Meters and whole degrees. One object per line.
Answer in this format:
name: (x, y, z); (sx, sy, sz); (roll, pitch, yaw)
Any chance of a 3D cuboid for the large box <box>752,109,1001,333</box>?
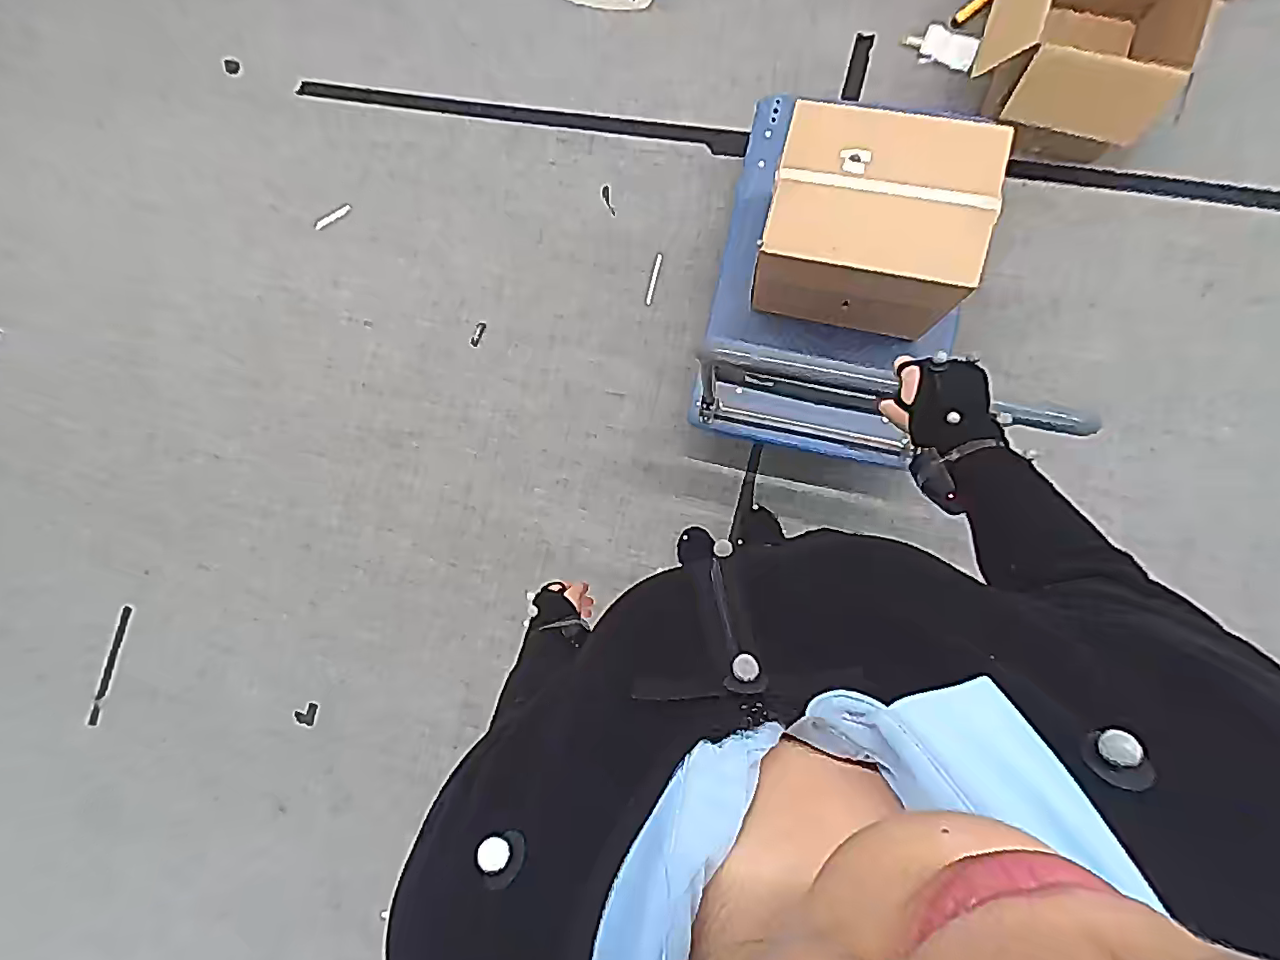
large box: (0.482, -0.544, 1.188); (0.408, 0.320, 0.320); (13, 88, 10)
